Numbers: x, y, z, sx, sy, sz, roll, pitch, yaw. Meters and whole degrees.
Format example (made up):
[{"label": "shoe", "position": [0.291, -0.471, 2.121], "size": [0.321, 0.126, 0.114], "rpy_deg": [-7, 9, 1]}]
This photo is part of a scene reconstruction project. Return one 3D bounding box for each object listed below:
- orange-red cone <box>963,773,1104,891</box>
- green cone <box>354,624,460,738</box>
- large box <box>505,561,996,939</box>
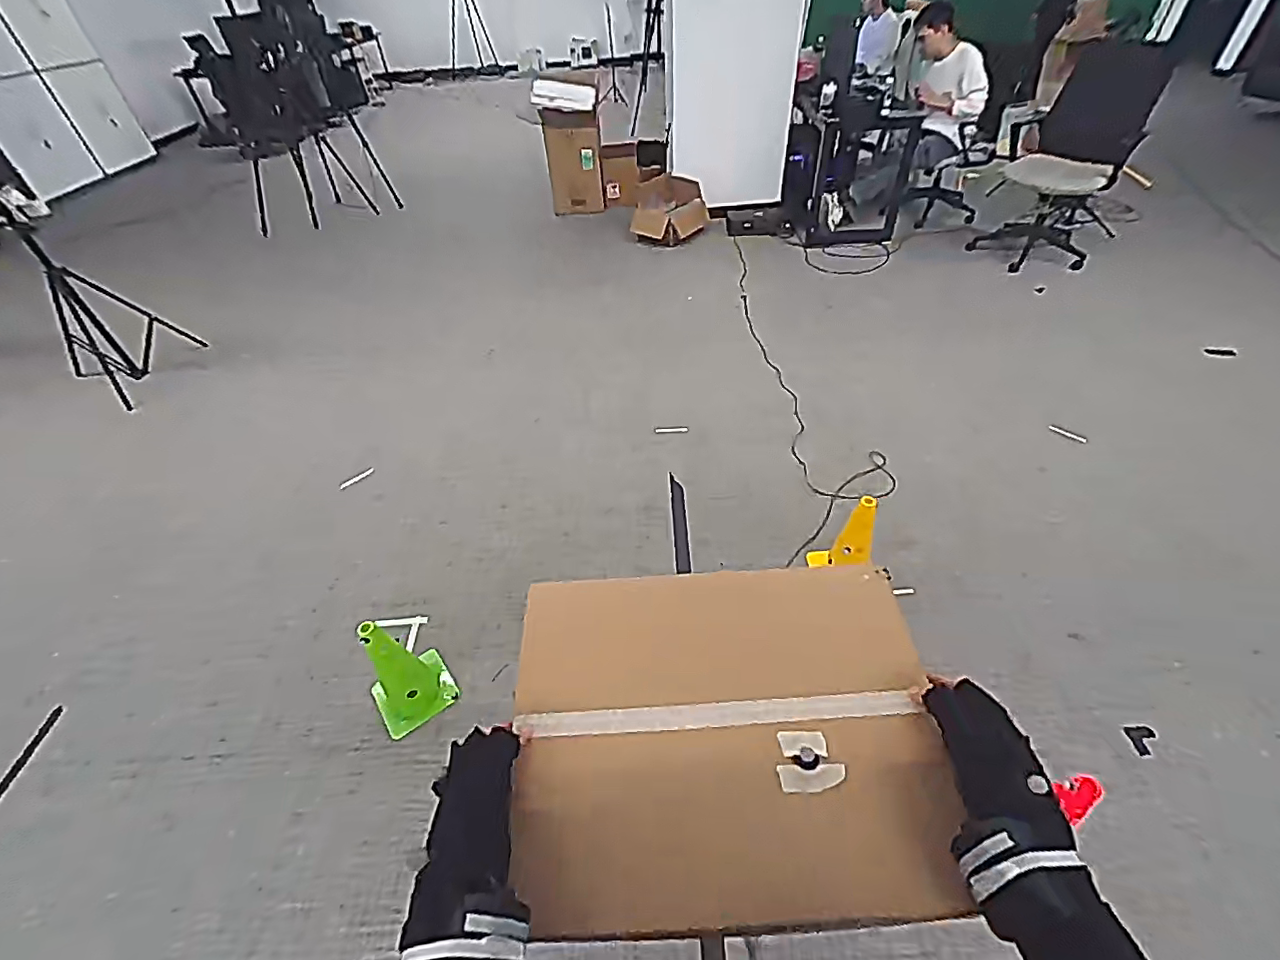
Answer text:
[{"label": "orange-red cone", "position": [0.835, 0.681, 1.107], "size": [0.198, 0.360, 0.199], "rpy_deg": [-4, 43, -1]}, {"label": "green cone", "position": [-0.655, 0.488, 1.436], "size": [0.202, 0.368, 0.200], "rpy_deg": [-32, 49, -23]}, {"label": "large box", "position": [0.085, 0.320, 0.636], "size": [0.408, 0.320, 0.320], "rpy_deg": [-3, 49, 0]}]
